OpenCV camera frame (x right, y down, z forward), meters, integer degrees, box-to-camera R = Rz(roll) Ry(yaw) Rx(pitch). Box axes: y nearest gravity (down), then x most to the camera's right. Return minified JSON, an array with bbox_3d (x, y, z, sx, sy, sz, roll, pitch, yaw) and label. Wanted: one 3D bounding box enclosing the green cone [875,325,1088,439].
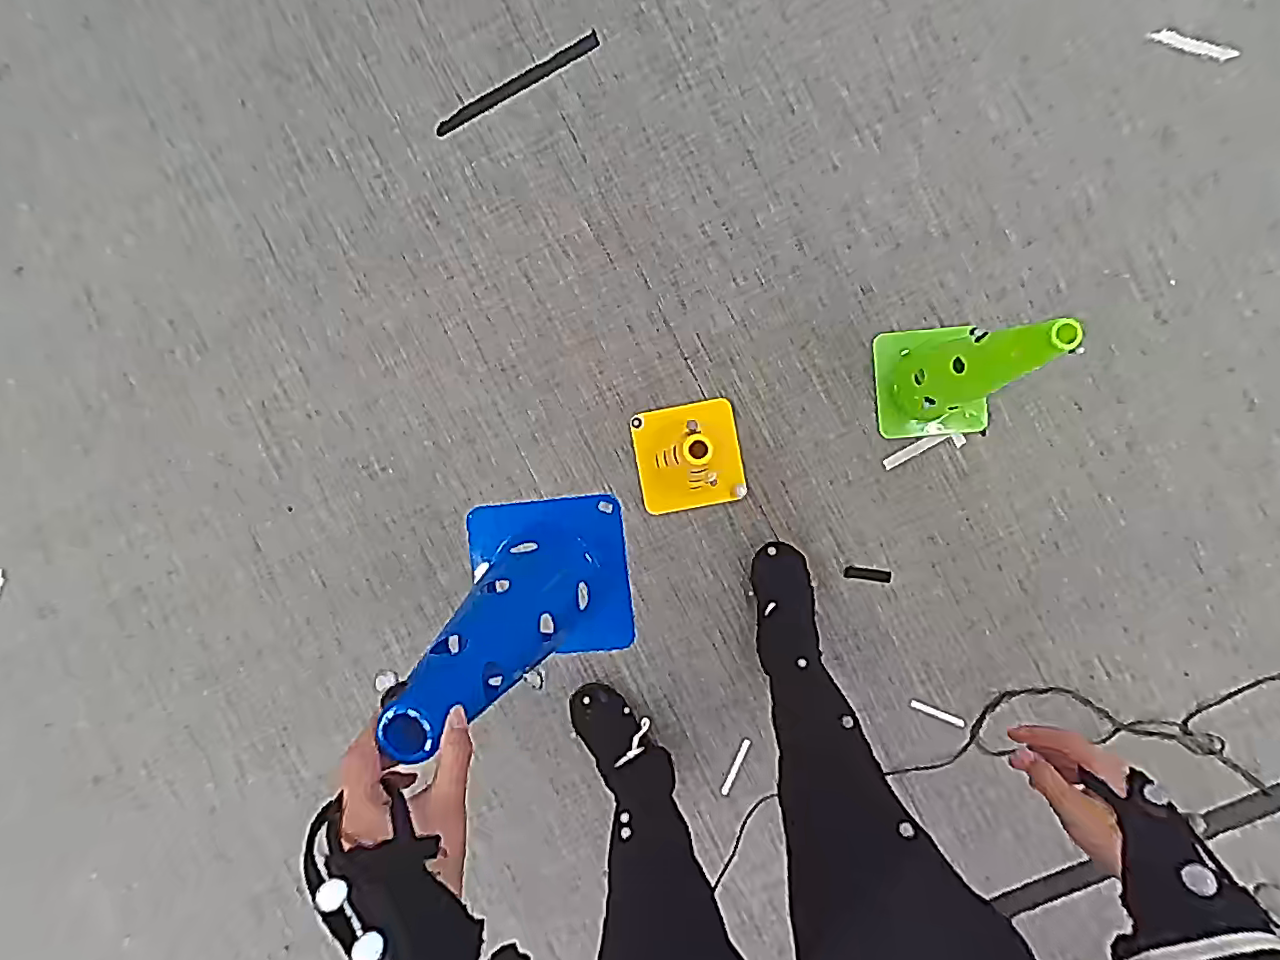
[{"bbox_3d":[0.535,-0.179,0.840,0.200,0.368,0.202,-5,91,4],"label":"green cone"}]
